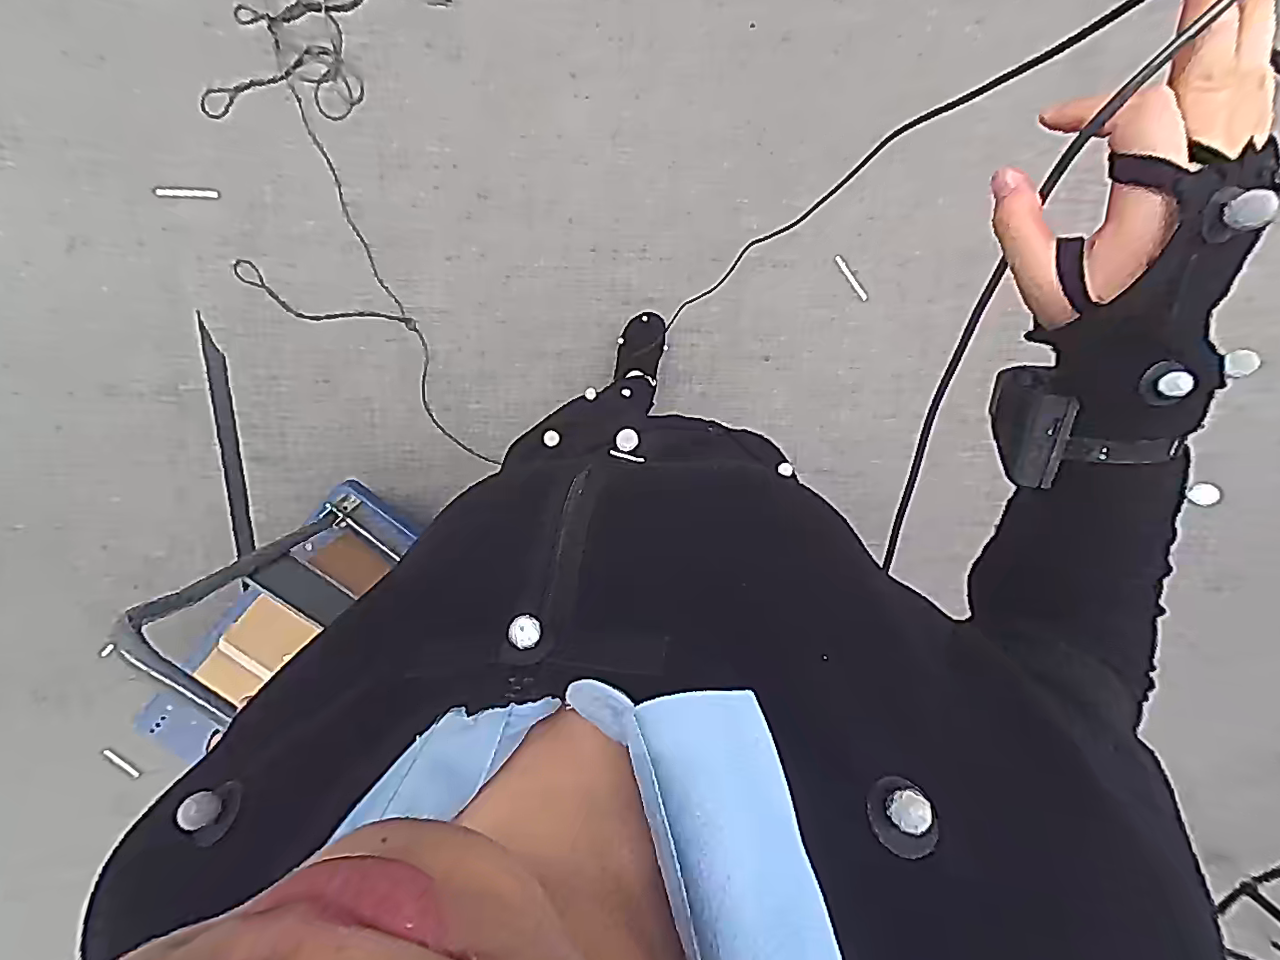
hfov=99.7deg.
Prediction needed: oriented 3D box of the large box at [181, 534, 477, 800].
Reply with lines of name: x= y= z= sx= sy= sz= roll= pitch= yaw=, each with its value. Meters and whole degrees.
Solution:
large box: x=-0.644 y=0.392 z=1.200 sx=0.408 sy=0.320 sz=0.320 roll=42 pitch=97 yaw=-11
